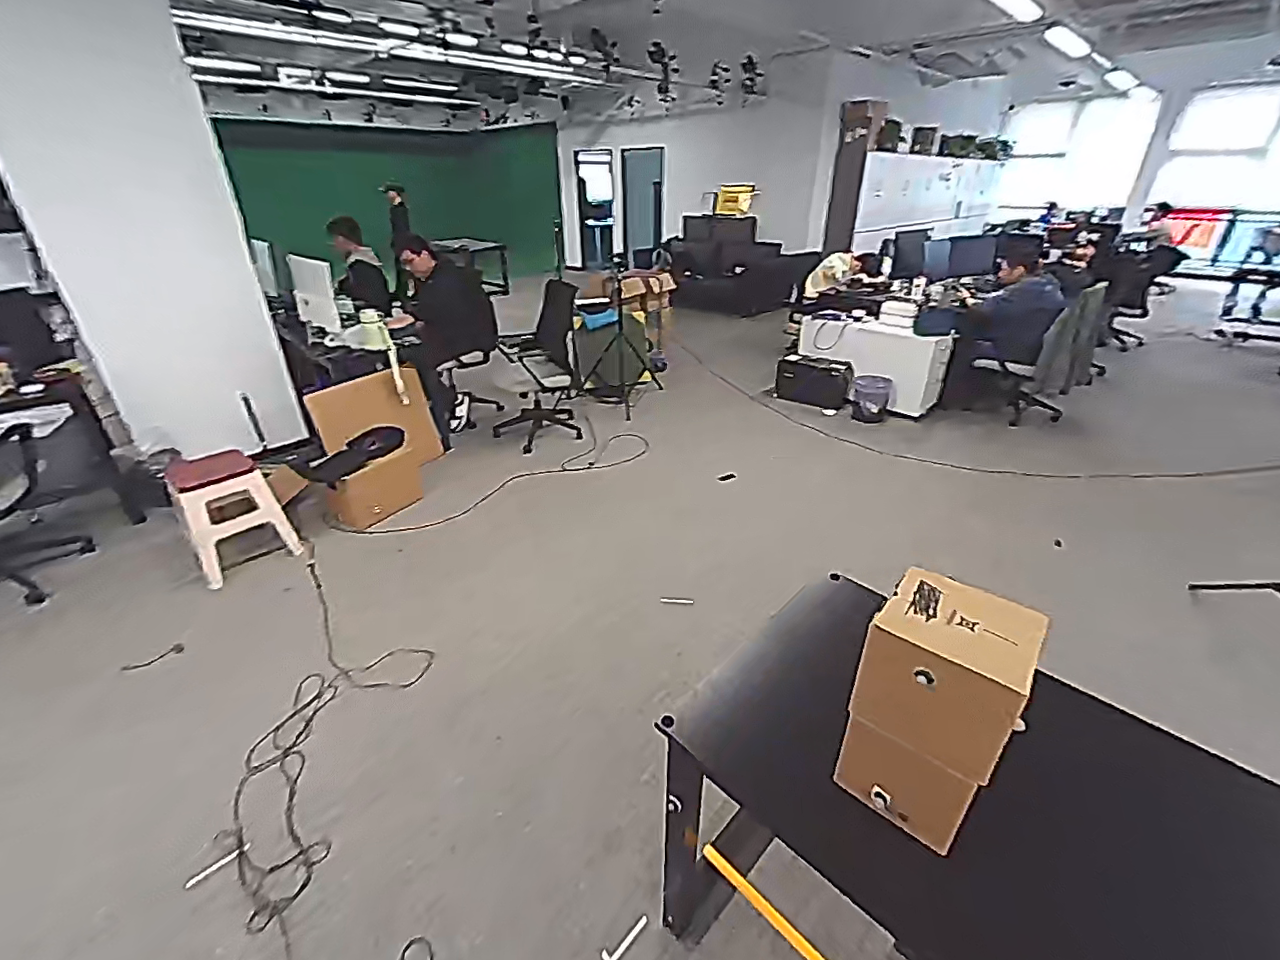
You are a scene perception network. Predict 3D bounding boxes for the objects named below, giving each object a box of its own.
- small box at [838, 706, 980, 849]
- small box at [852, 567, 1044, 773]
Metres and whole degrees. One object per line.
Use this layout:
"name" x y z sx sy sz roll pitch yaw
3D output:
"small box" 0.418 0.397 0.820 0.168 0.176 0.179 21 36 35
"small box" 0.413 0.253 0.740 0.179 0.176 0.168 22 36 35
